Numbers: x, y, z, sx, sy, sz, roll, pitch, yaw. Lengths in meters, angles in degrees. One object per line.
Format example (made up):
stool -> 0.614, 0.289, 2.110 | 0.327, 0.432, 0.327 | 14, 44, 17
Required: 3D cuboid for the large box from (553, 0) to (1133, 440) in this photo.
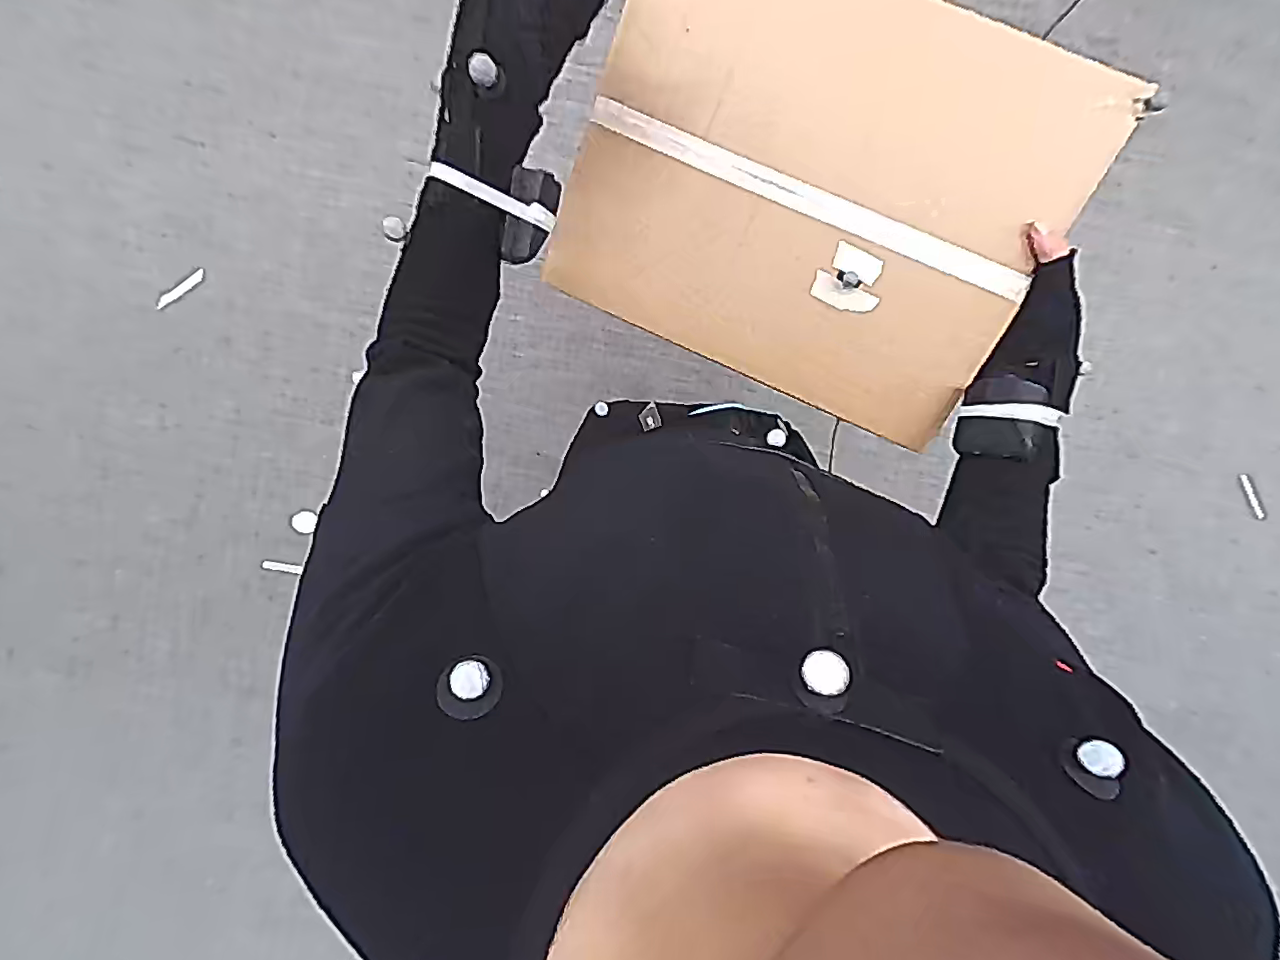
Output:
large box -> 0.172, -0.294, 0.616 | 0.408, 0.320, 0.320 | 25, 113, 2
